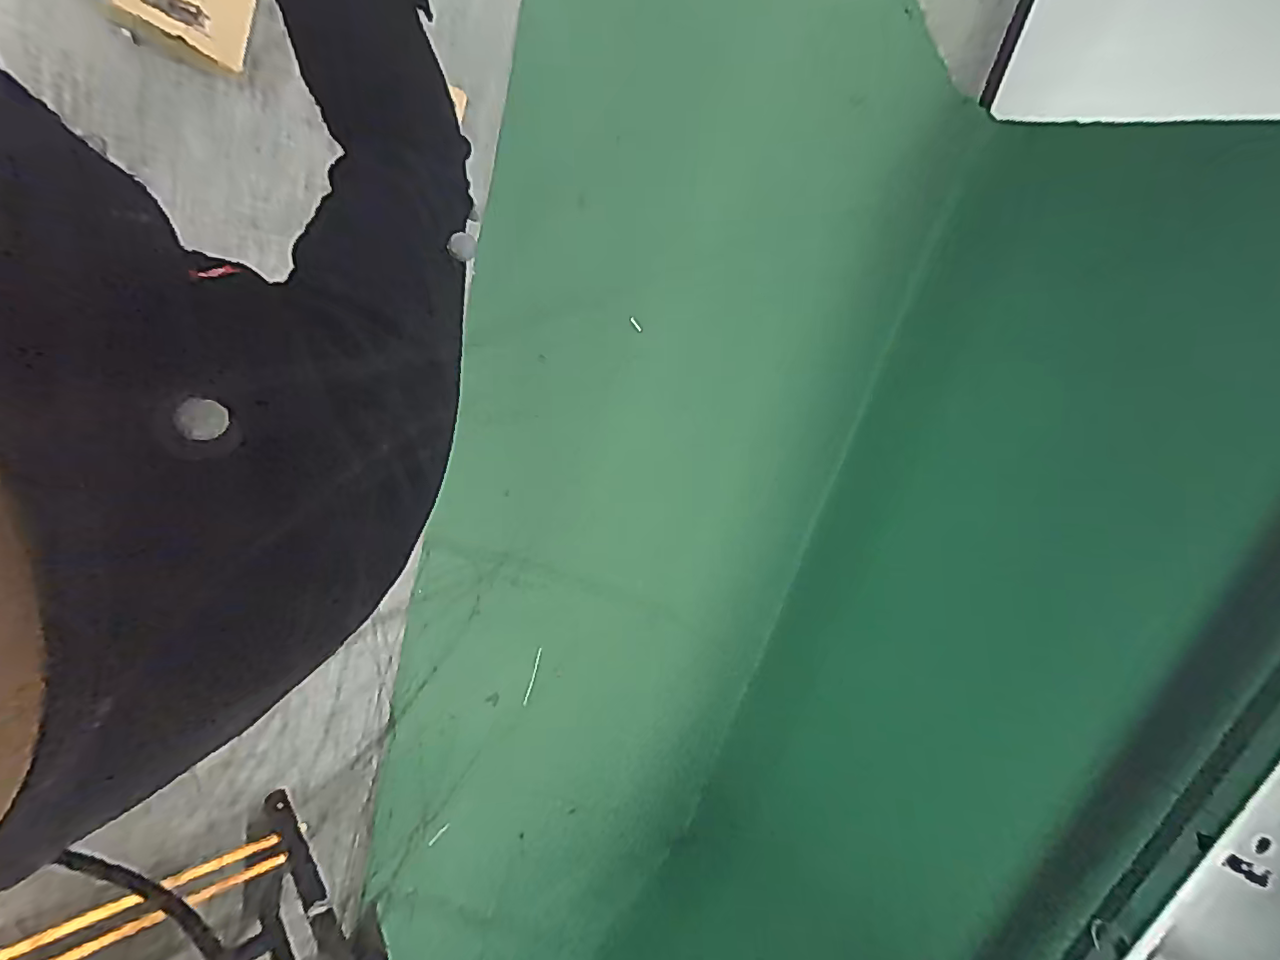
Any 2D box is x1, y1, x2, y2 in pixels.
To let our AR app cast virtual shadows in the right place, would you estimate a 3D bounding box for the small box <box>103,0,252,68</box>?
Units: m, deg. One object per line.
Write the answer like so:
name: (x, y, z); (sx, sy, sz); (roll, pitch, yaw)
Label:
small box: (-0.765, -0.825, 0.897); (0.168, 0.176, 0.179); (8, 107, -51)
